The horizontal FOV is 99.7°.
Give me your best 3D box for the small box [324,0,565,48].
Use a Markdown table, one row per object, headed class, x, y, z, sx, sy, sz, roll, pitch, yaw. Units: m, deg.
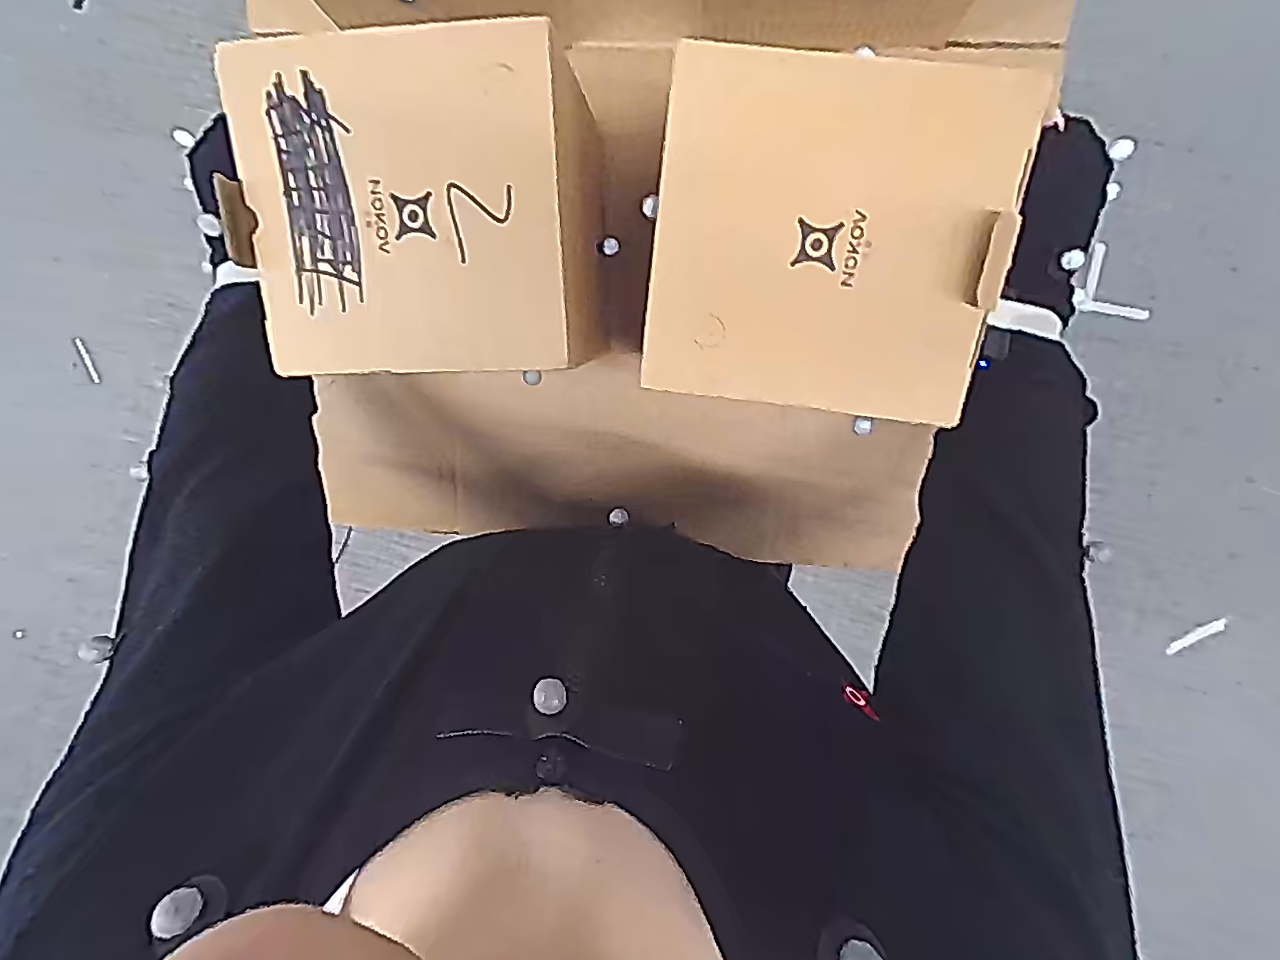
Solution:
| class | x | y | z | sx | sy | sz | roll | pitch | yaw |
| --- | --- | --- | --- | --- | --- | --- | --- | --- | --- |
| small box | -0.139 | -0.398 | 0.321 | 0.168 | 0.176 | 0.179 | 3 | 98 | 4 |
